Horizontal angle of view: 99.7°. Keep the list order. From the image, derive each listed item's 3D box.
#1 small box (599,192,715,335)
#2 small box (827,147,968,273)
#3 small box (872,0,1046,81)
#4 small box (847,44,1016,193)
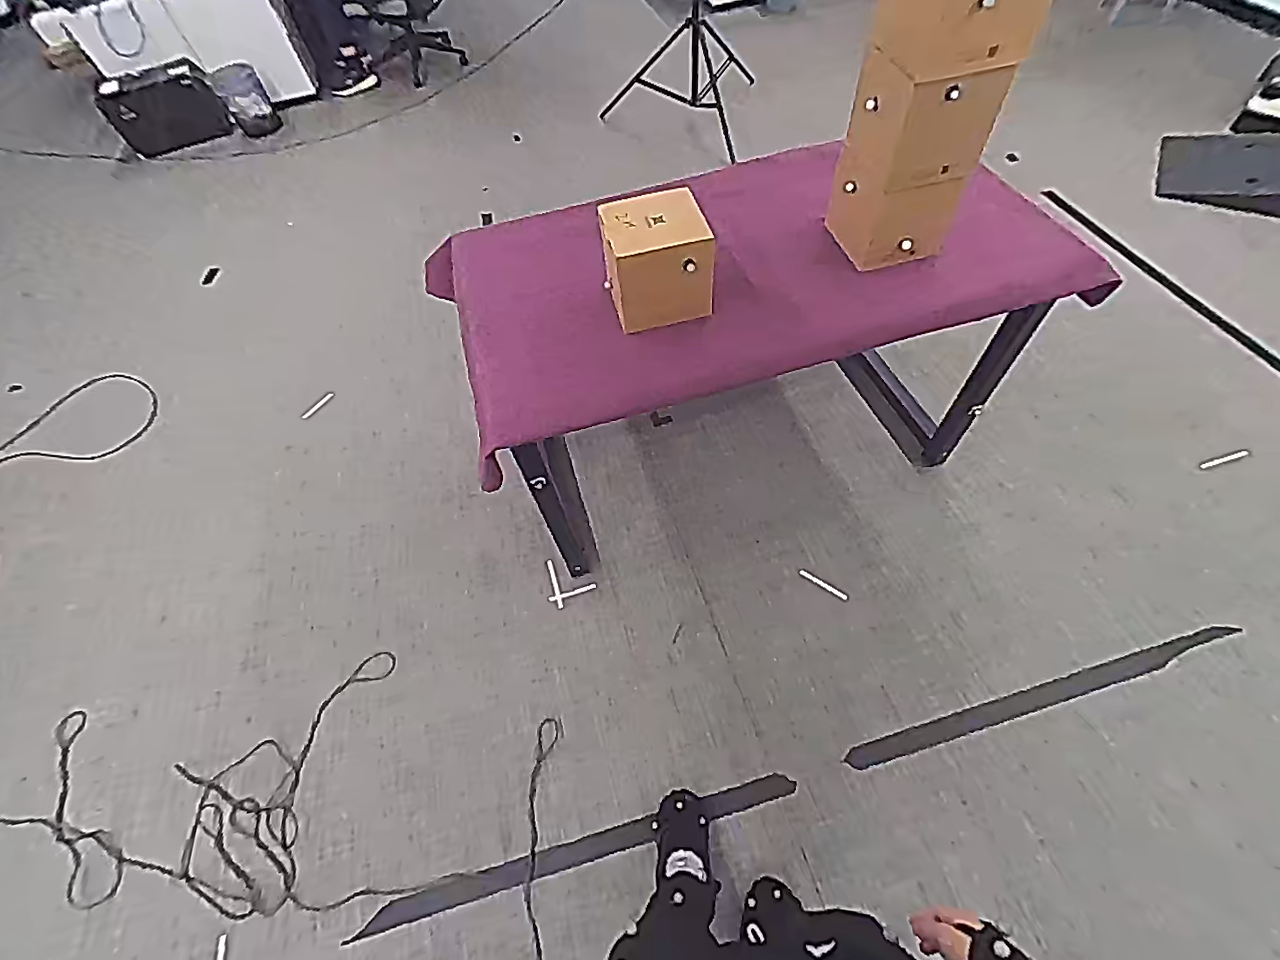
[{"bbox_3d":[0.031,-0.402,1.016,0.179,0.176,0.168,-14,57,-3],"label":"small box"},{"bbox_3d":[0.487,-0.538,1.057,0.168,0.176,0.179,-14,58,-3],"label":"small box"},{"bbox_3d":[0.463,-0.703,0.775,0.168,0.176,0.179,-13,57,-2],"label":"small box"},{"bbox_3d":[0.474,-0.621,0.917,0.168,0.176,0.179,-13,57,-2],"label":"small box"}]
